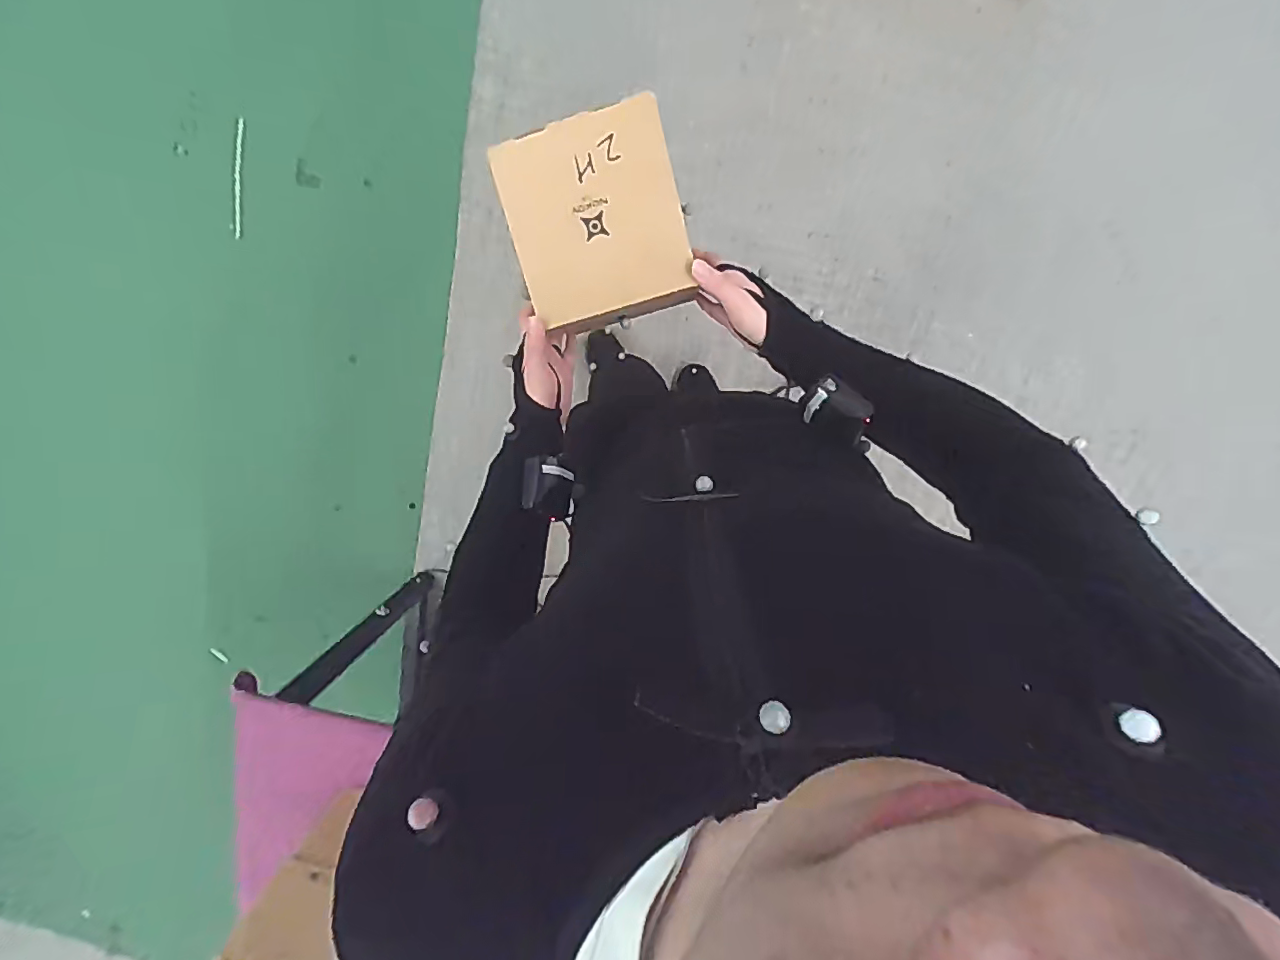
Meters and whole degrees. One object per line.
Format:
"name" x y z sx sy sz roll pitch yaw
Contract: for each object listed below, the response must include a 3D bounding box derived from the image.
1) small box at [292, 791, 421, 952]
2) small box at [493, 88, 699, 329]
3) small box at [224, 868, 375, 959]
"small box" -0.549 0.756 1.055 0.168 0.176 0.179 14 106 1
"small box" -0.031 -0.269 0.585 0.168 0.176 0.179 -13 101 8
"small box" -0.564 0.796 0.897 0.168 0.176 0.179 13 107 1
